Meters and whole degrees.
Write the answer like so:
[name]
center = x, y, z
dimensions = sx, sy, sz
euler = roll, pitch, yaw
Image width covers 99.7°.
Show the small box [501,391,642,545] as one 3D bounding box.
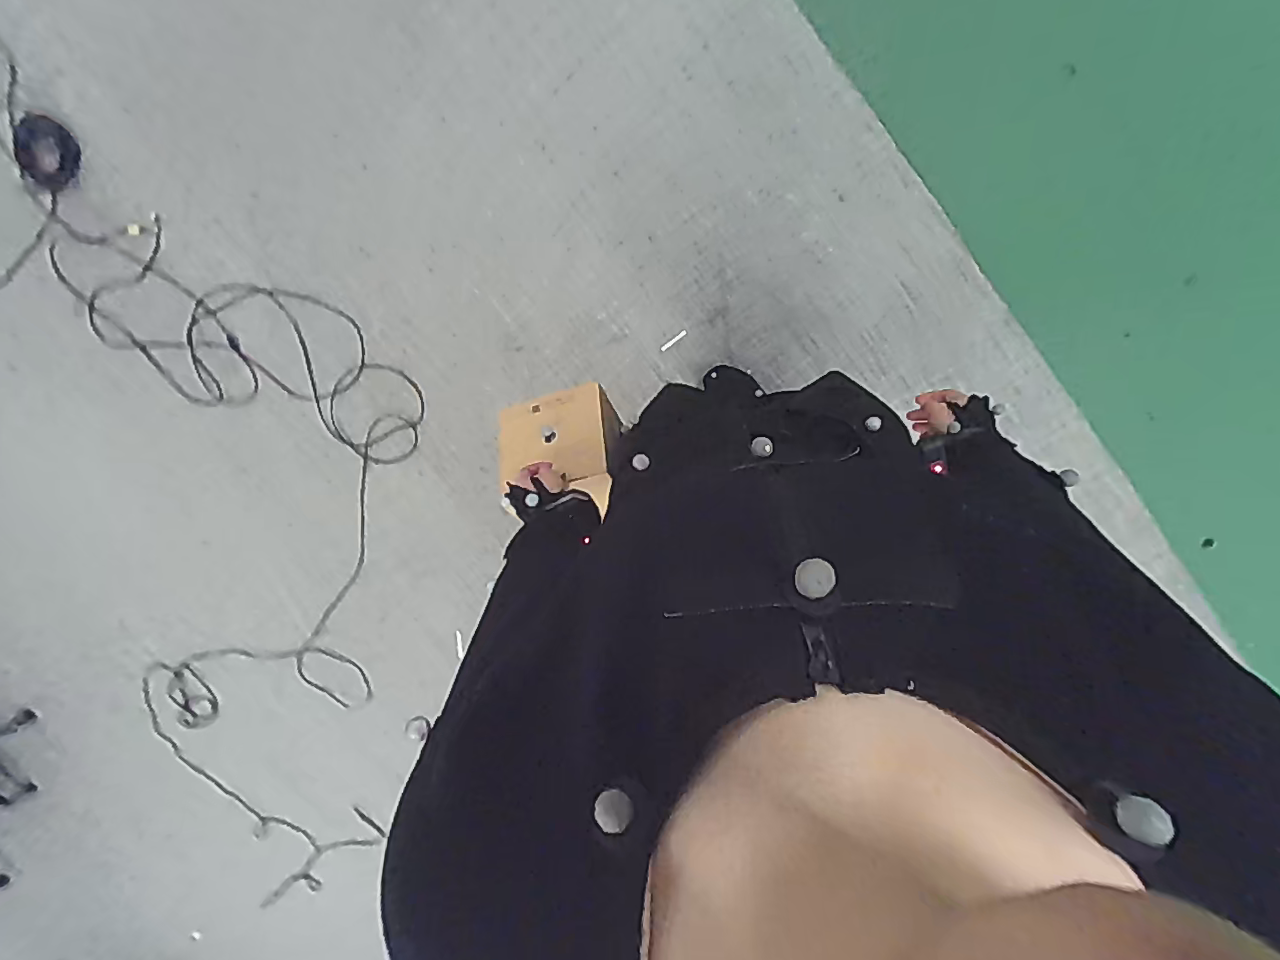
[small box]
center = -0.105, -0.022, 0.854
dimensions = 0.168, 0.176, 0.179
euler = -14, 147, 12
